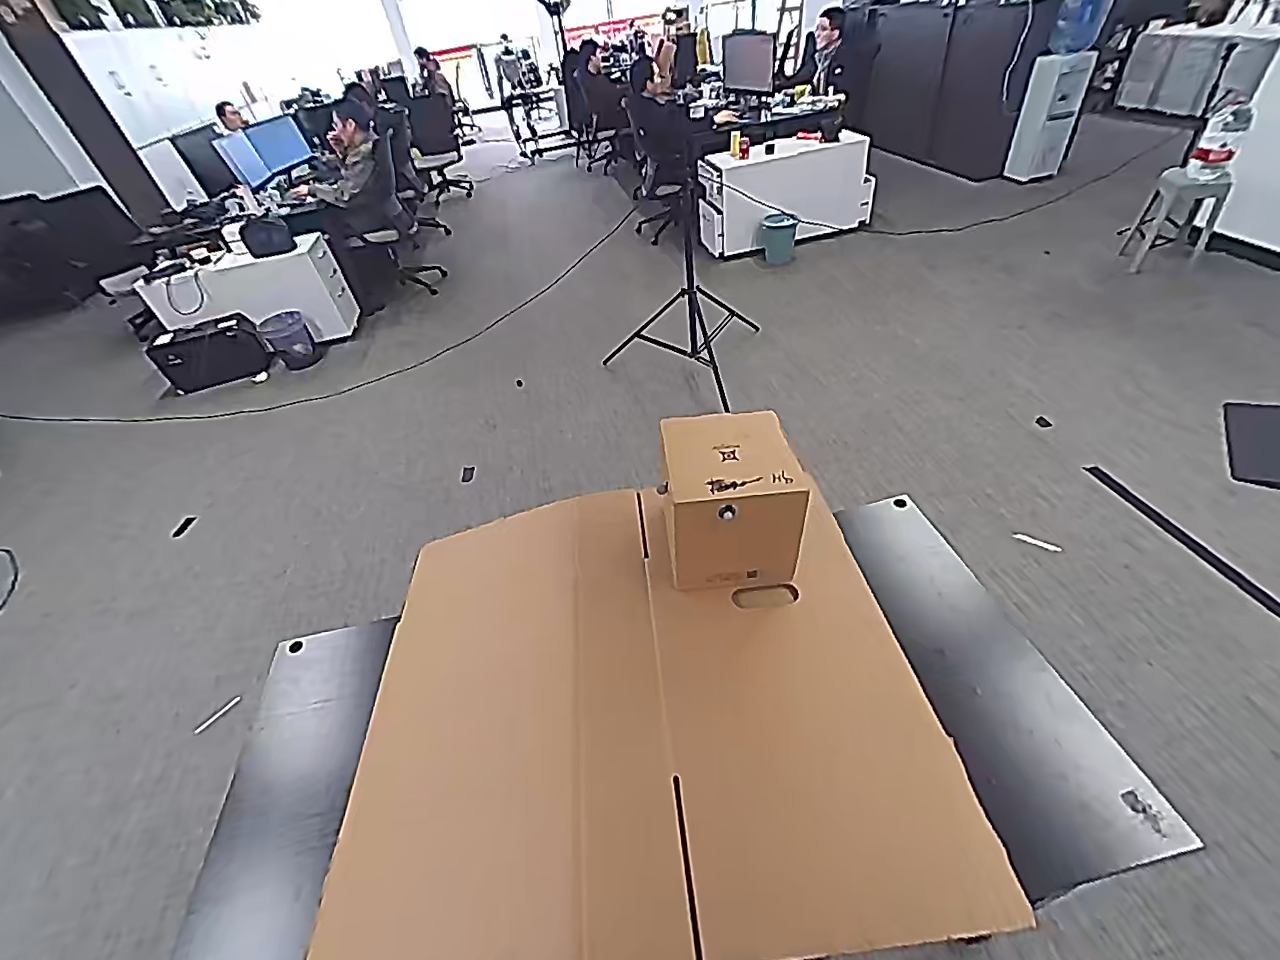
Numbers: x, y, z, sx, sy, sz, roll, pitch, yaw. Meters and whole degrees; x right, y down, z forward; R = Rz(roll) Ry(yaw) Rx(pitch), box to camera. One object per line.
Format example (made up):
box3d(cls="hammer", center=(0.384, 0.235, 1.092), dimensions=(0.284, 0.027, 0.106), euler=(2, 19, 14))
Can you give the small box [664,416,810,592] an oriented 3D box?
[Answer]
box3d(cls="small box", center=(0.122, 0.032, 0.757), dimensions=(0.168, 0.176, 0.179), euler=(-6, 40, 0))
